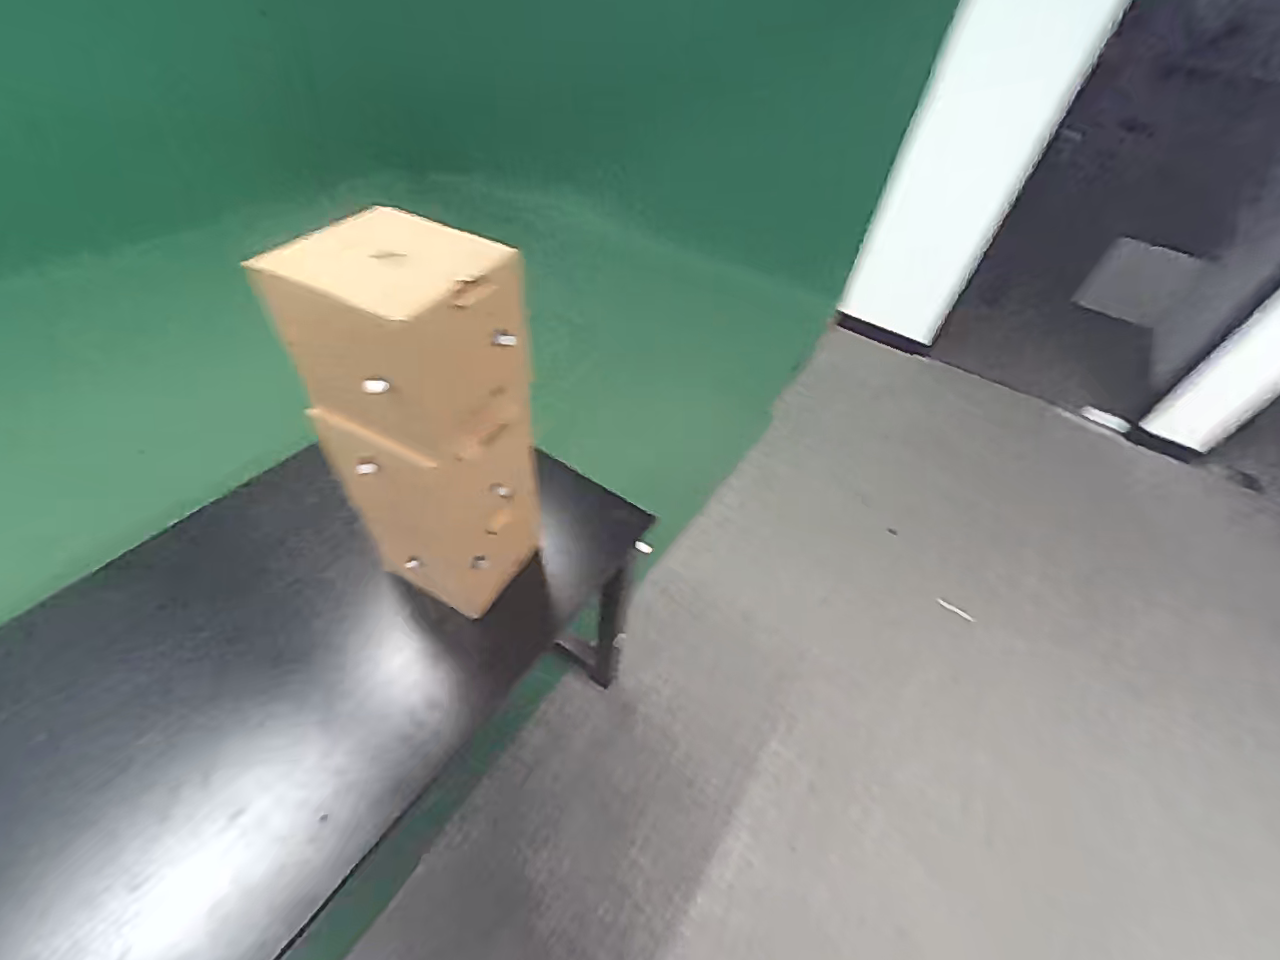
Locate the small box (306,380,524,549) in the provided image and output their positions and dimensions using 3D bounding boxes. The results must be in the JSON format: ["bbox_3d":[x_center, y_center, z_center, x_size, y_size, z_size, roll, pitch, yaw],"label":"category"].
[{"bbox_3d":[-0.266,-0.040,0.684,0.179,0.176,0.168,23,50,13],"label":"small box"}]
